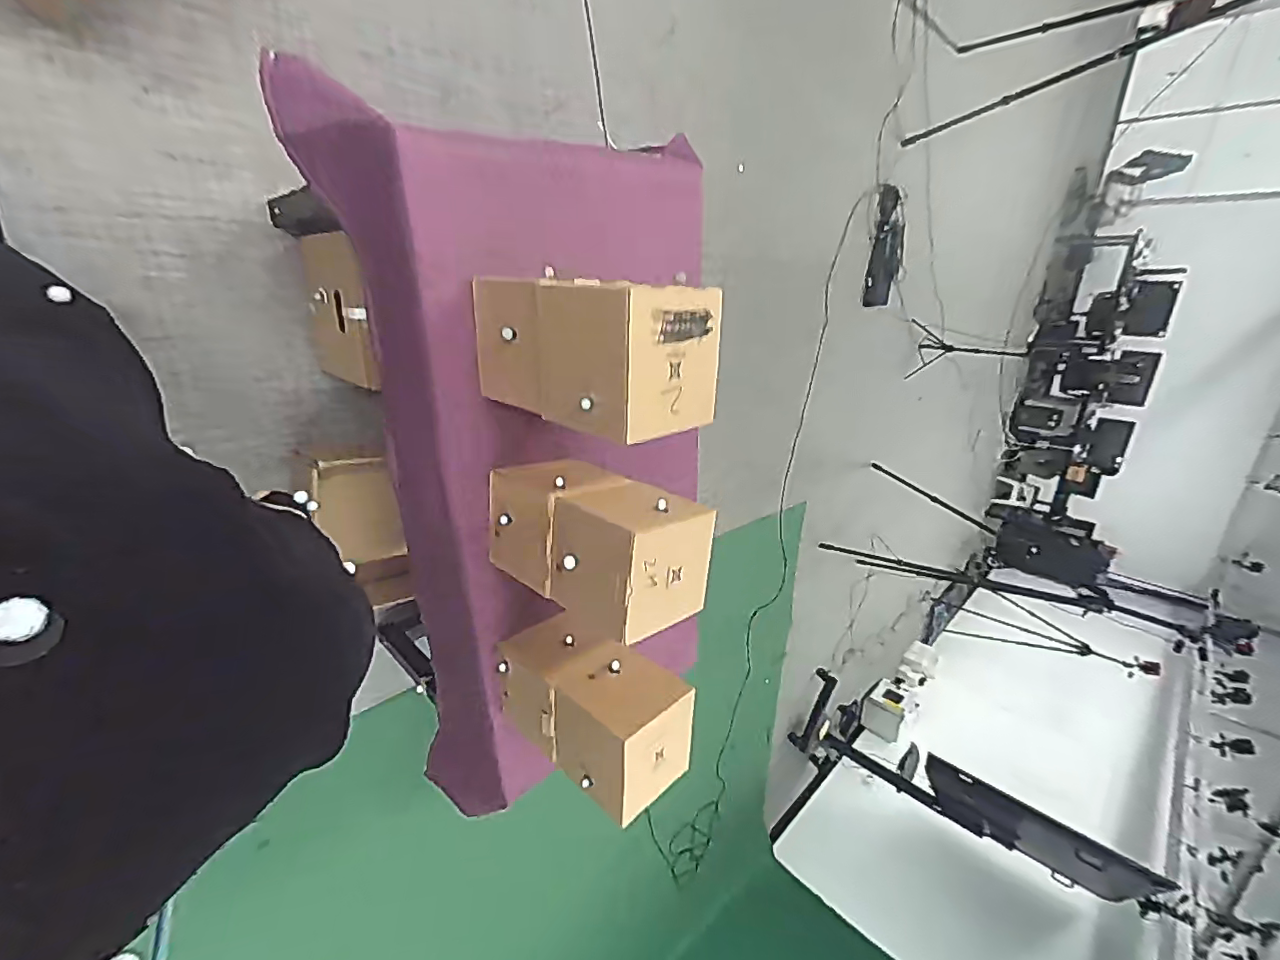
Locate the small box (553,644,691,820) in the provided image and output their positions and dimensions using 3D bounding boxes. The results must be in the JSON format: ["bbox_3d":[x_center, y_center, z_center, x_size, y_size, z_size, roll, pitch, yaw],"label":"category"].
[{"bbox_3d":[-0.035,0.416,0.923,0.168,0.176,0.179,-17,117,-43],"label":"small box"}]

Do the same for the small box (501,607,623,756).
[{"bbox_3d":[-0.151,0.370,1.027,0.179,0.176,0.168,-18,118,-43],"label":"small box"}]

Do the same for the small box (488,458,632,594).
[{"bbox_3d":[-0.138,0.066,0.923,0.179,0.176,0.168,-11,113,-43],"label":"small box"}]

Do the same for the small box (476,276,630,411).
[{"bbox_3d":[-0.132,-0.211,0.815,0.168,0.176,0.179,-17,116,-41],"label":"small box"}]

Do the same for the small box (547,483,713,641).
[{"bbox_3d":[-0.017,0.110,0.820,0.179,0.176,0.168,-10,112,-44],"label":"small box"}]
